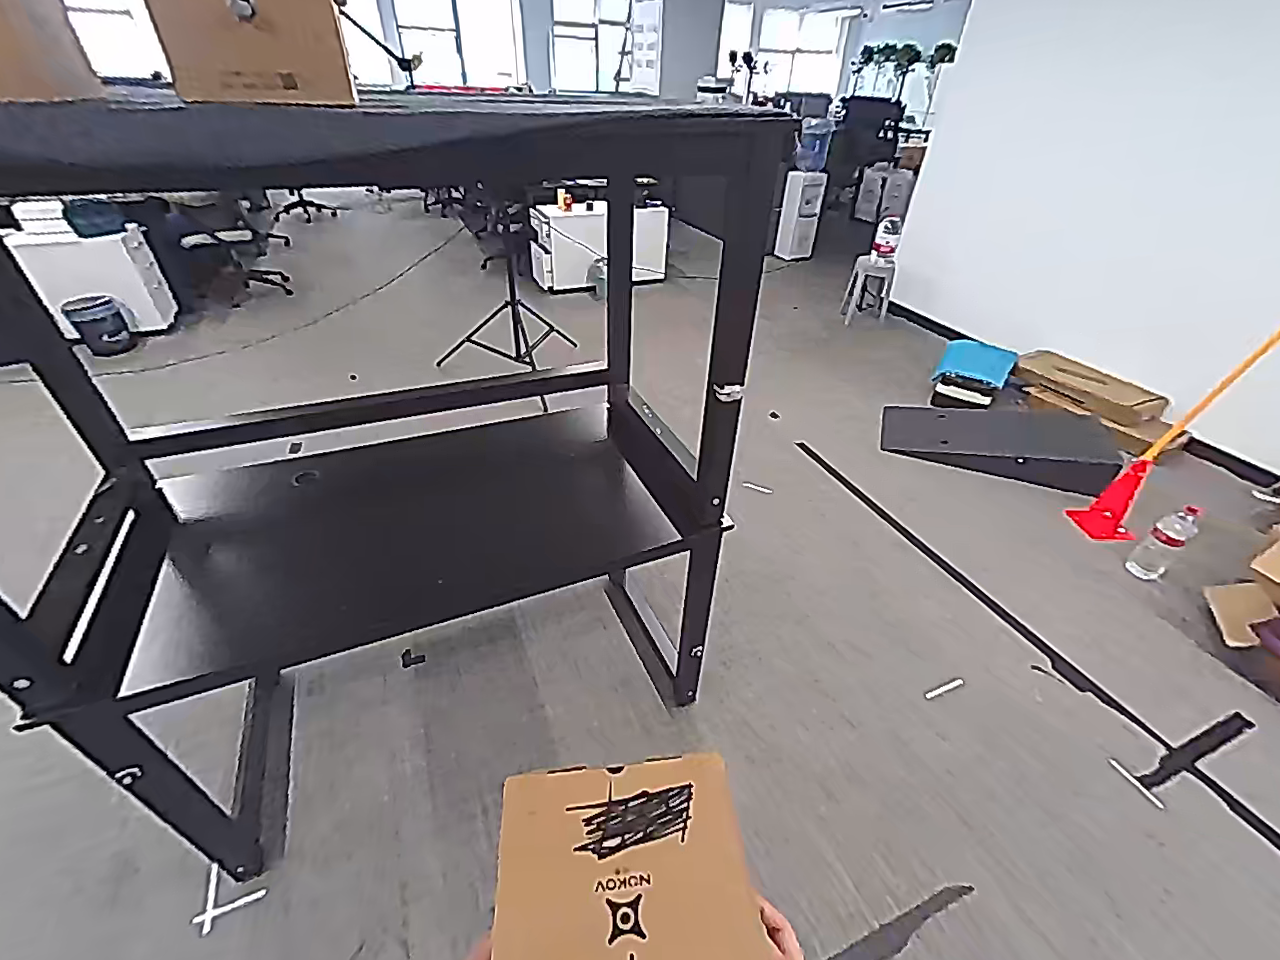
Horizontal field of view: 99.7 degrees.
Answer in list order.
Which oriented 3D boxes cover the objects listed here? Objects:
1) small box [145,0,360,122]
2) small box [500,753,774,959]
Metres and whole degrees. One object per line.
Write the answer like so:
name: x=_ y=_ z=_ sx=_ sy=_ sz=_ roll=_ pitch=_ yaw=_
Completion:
small box: x=-0.419 y=-0.499 z=0.596 sx=0.168 sy=0.176 sz=0.179 roll=-12 pitch=38 yaw=-20
small box: x=-0.006 y=0.333 z=0.393 sx=0.168 sy=0.176 sz=0.179 roll=-4 pitch=36 yaw=-5
